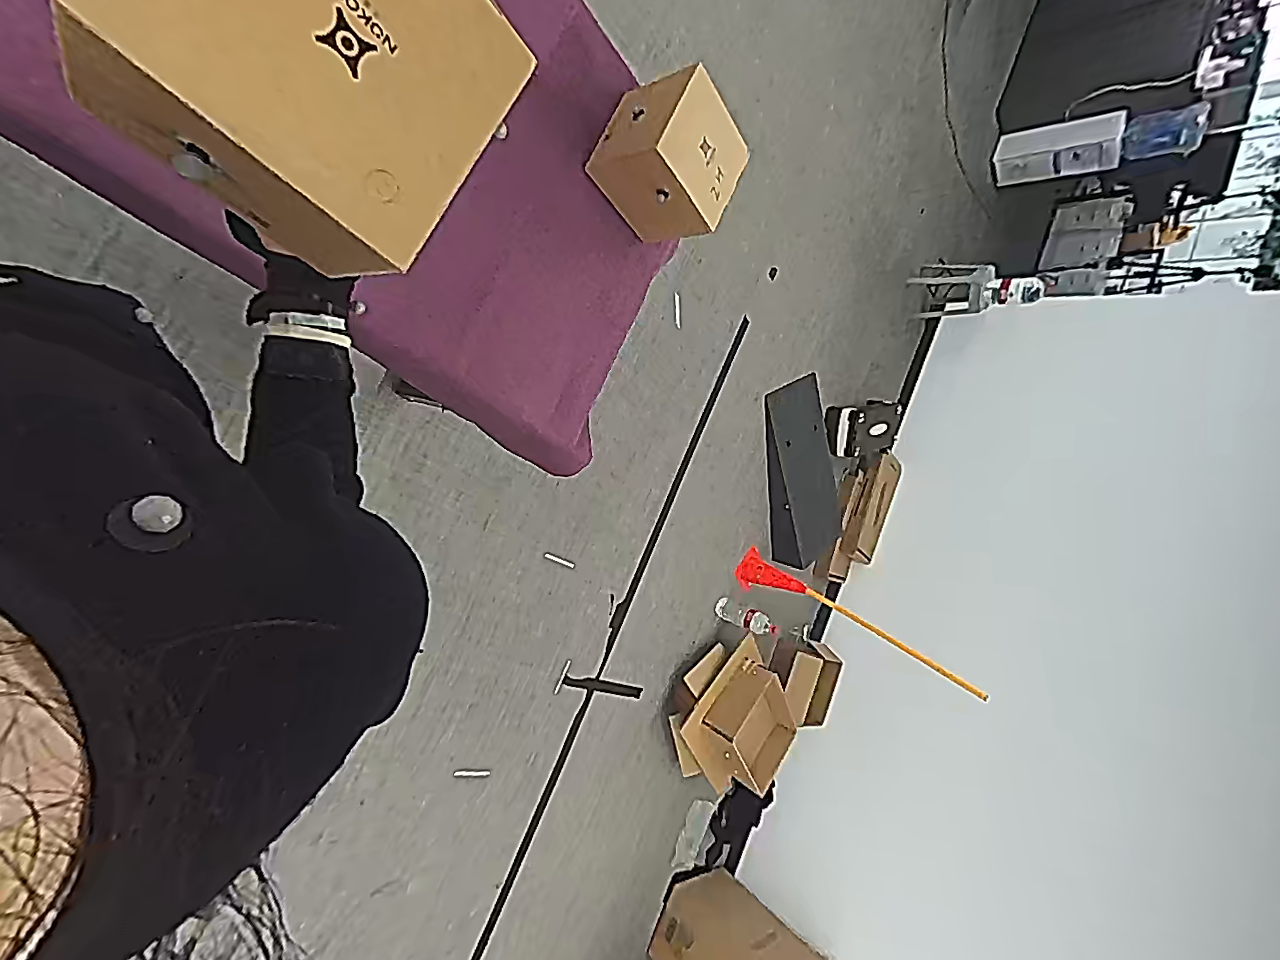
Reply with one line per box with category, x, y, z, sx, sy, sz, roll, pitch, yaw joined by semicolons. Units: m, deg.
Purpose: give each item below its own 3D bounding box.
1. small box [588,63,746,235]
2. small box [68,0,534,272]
small box;0.044;-0.538;0.913;0.179;0.176;0.168;35;77;-46
small box;-0.208;-0.257;0.351;0.168;0.176;0.179;35;77;-45
